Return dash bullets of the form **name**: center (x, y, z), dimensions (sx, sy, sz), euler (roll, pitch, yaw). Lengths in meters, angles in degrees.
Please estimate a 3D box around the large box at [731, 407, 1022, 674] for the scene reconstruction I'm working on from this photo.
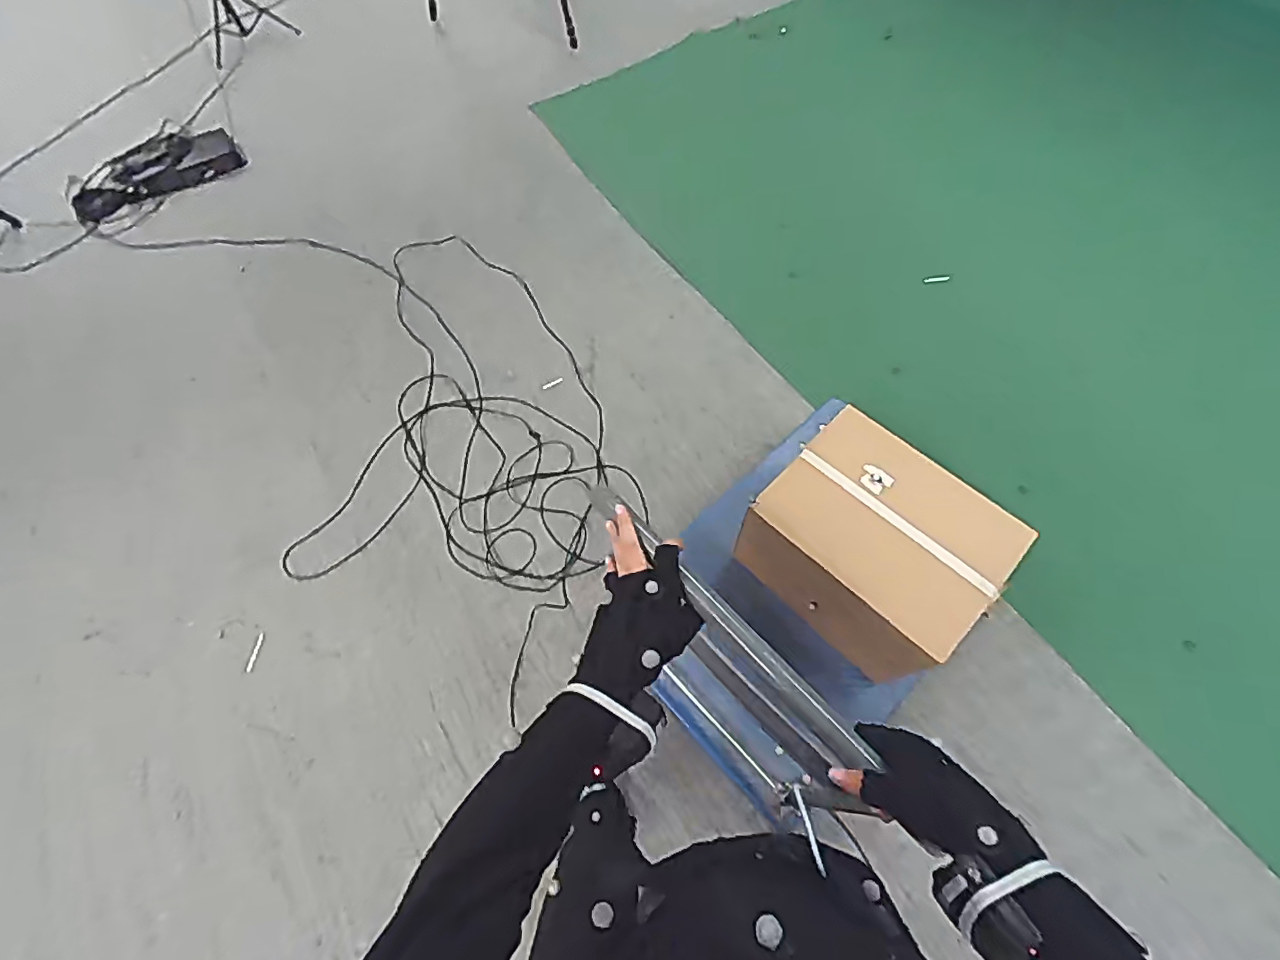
- **large box**: center (0.450, 0.134, 1.123), dimensions (0.408, 0.320, 0.320), euler (41, 72, 20)
